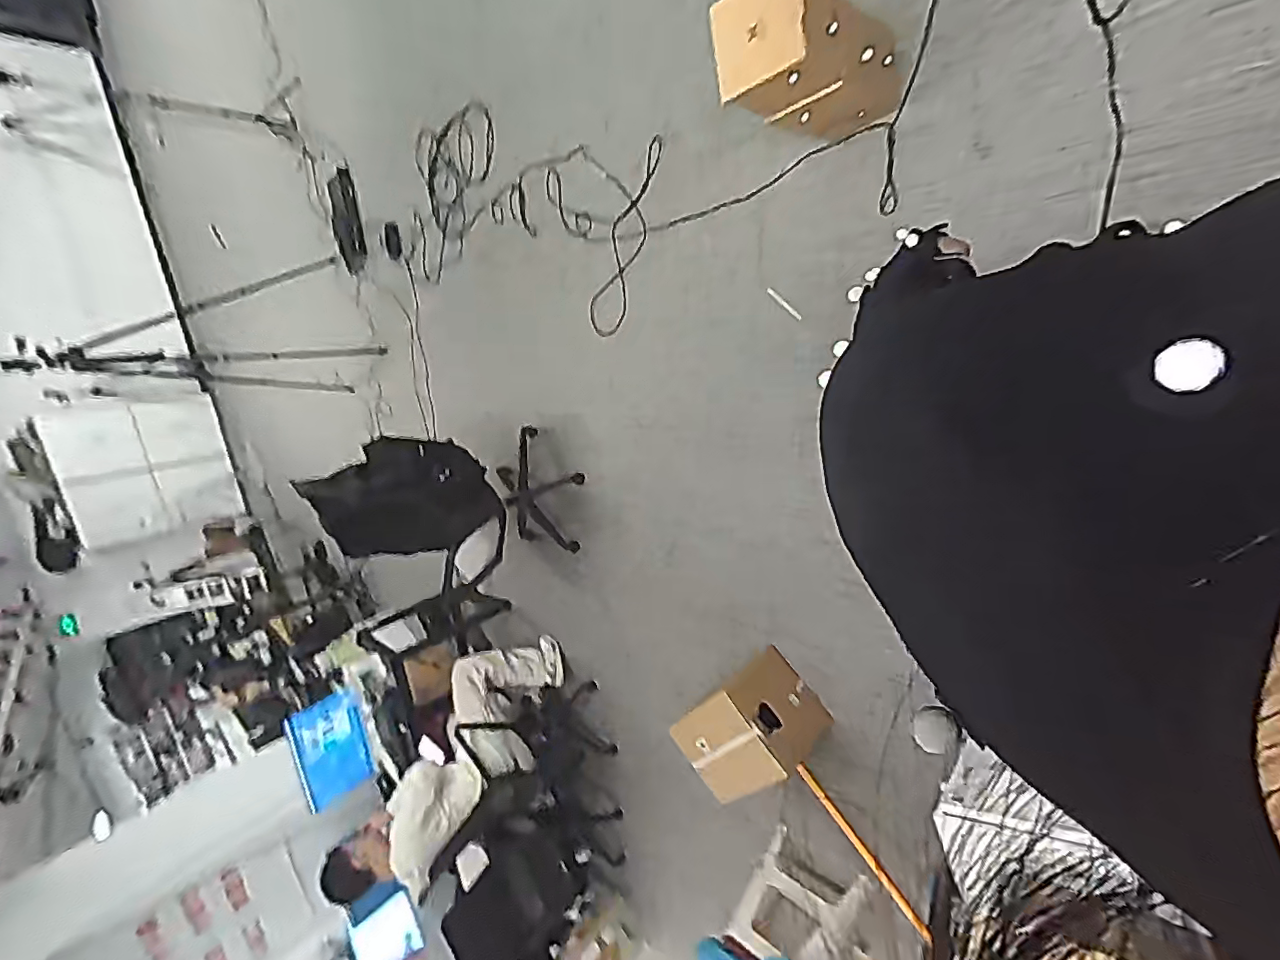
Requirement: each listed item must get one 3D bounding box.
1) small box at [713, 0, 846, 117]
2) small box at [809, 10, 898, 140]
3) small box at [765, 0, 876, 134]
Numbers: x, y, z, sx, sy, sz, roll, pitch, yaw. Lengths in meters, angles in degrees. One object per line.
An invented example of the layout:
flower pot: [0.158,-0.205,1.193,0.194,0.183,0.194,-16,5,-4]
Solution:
small box: [0.266,-0.823,1.022,0.179,0.176,0.168,0,105,44]
small box: [0.480,-0.920,1.248,0.179,0.176,0.168,-3,103,46]
small box: [0.374,-0.860,1.138,0.179,0.176,0.168,2,107,44]
